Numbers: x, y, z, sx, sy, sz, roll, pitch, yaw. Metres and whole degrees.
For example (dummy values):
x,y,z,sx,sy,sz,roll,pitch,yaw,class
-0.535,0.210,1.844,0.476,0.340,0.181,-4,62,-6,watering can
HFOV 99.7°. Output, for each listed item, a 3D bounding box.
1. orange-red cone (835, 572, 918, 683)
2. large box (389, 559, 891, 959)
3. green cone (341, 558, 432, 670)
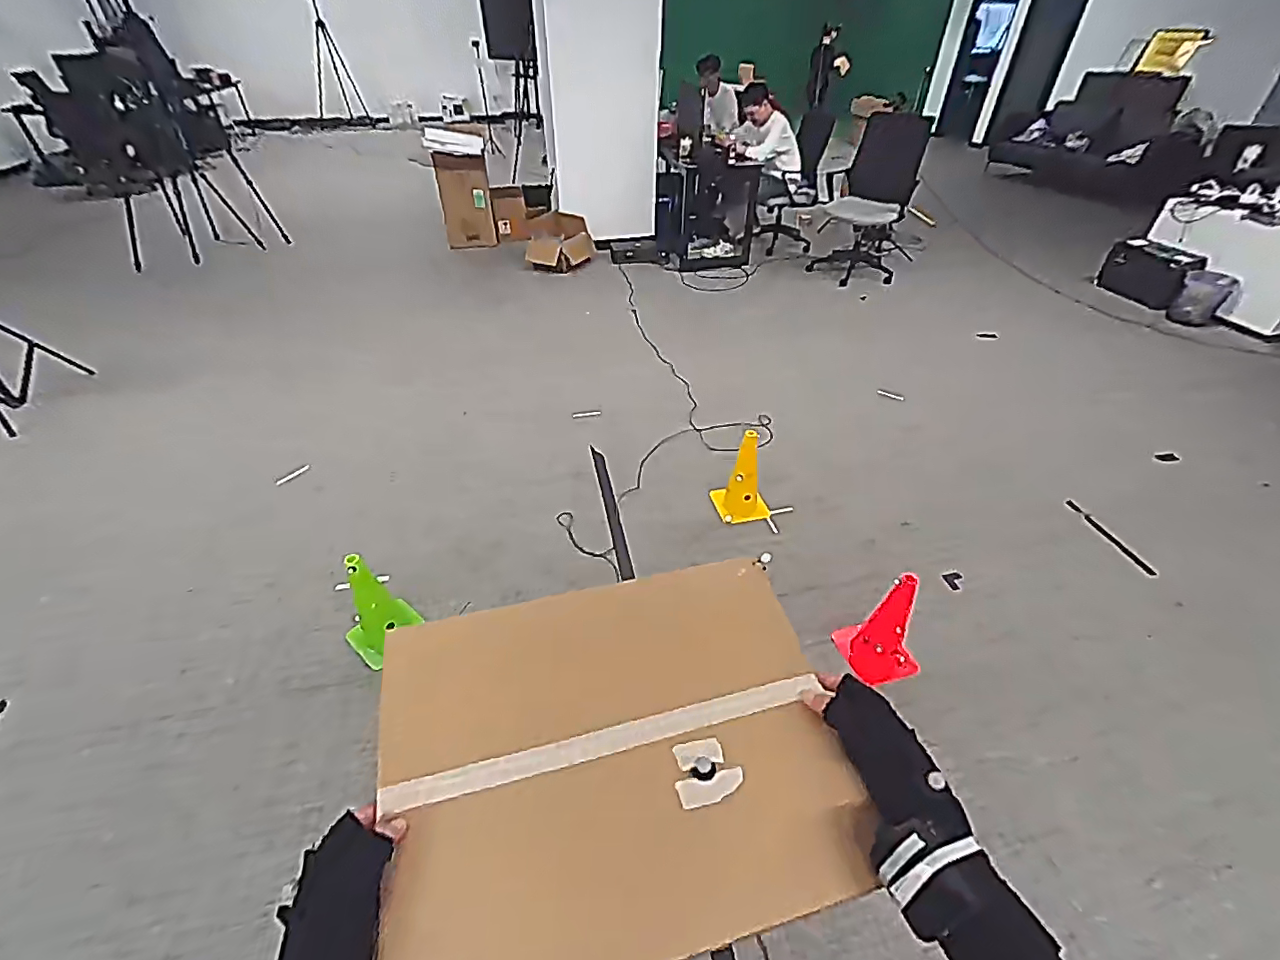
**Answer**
x,y,z,sx,sy,sz,roll,pitch,yaw,class
0.732,0.398,1.574,0.198,0.360,0.199,-9,39,-12,orange-red cone
-0.028,0.336,0.607,0.408,0.320,0.320,-10,50,-12,large box
-0.805,0.361,1.622,0.200,0.368,0.202,27,49,30,green cone
